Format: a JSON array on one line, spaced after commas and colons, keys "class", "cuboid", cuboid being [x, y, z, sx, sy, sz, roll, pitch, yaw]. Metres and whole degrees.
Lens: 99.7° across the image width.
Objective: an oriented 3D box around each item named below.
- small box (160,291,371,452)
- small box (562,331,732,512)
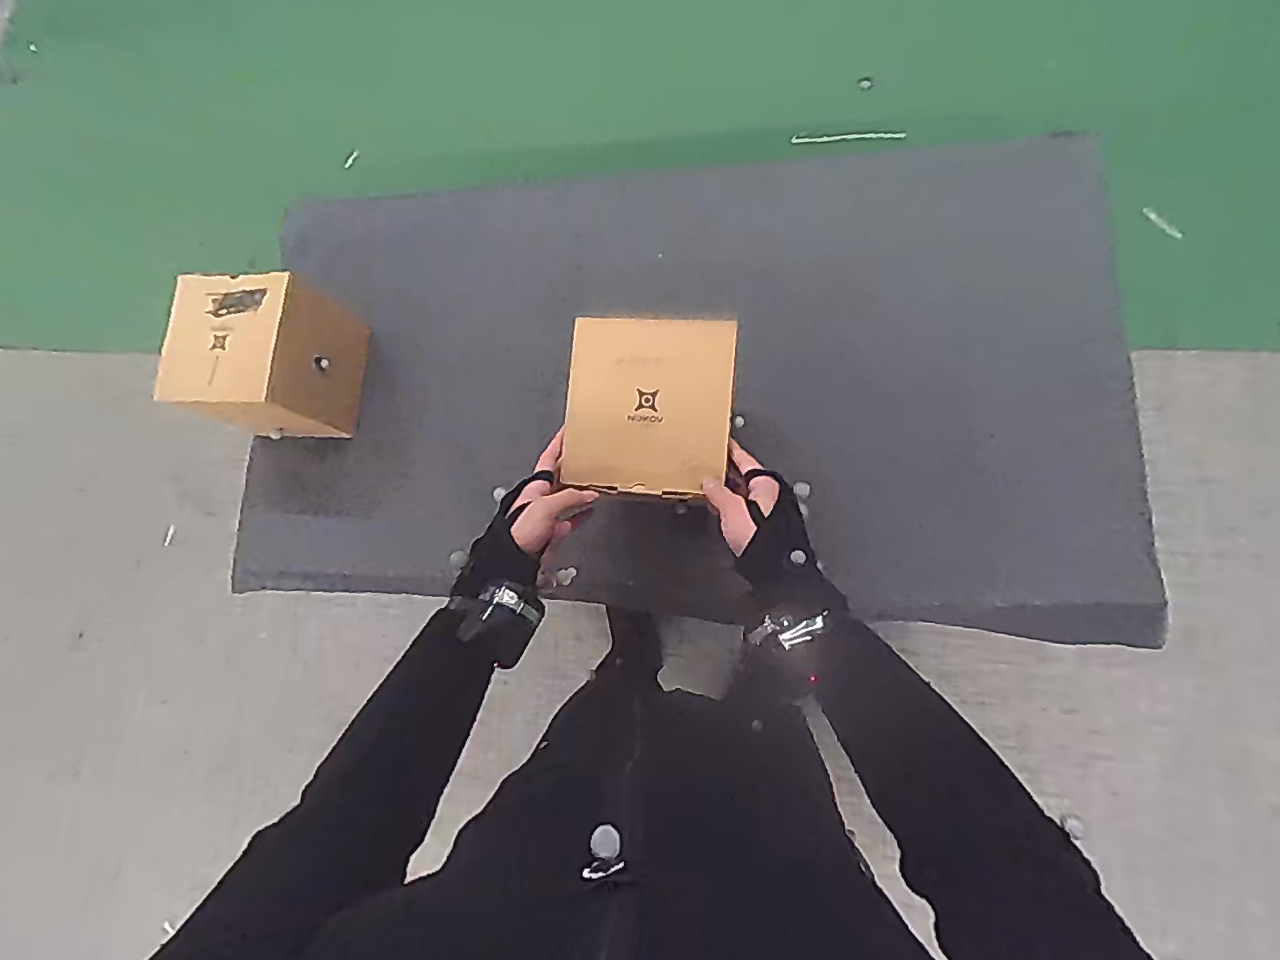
[{"class": "small box", "cuboid": [-0.512, -0.146, 0.766, 0.168, 0.176, 0.179, 2, 80, 9]}, {"class": "small box", "cuboid": [0.018, -0.057, 0.623, 0.168, 0.176, 0.179, 3, 84, 8]}]
